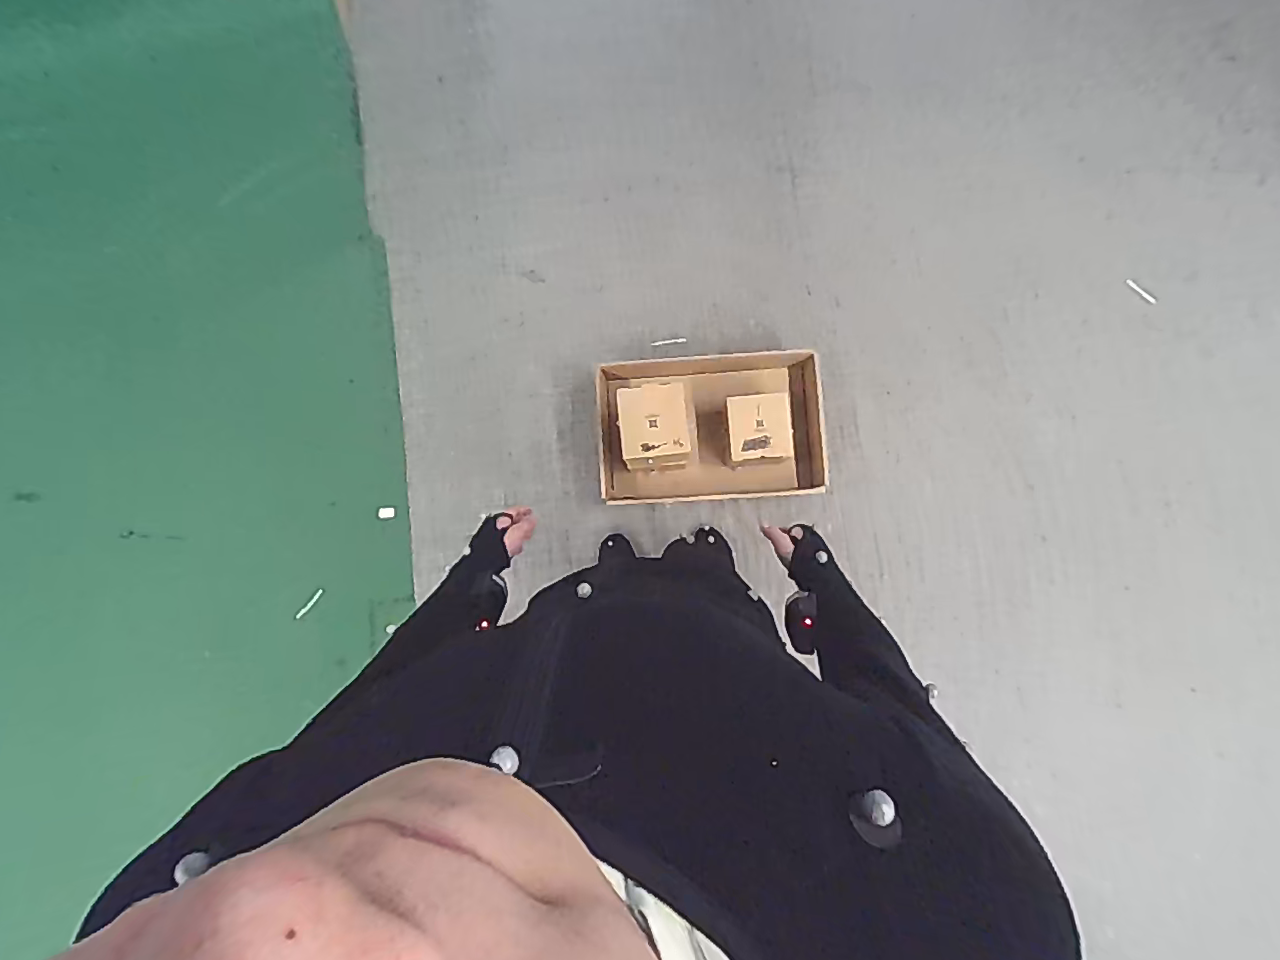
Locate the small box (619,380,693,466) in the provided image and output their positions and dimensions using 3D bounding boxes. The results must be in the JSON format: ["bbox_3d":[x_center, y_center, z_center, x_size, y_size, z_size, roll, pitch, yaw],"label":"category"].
[{"bbox_3d":[0.041,-0.138,1.362,0.168,0.176,0.179,-6,84,4],"label":"small box"}]
